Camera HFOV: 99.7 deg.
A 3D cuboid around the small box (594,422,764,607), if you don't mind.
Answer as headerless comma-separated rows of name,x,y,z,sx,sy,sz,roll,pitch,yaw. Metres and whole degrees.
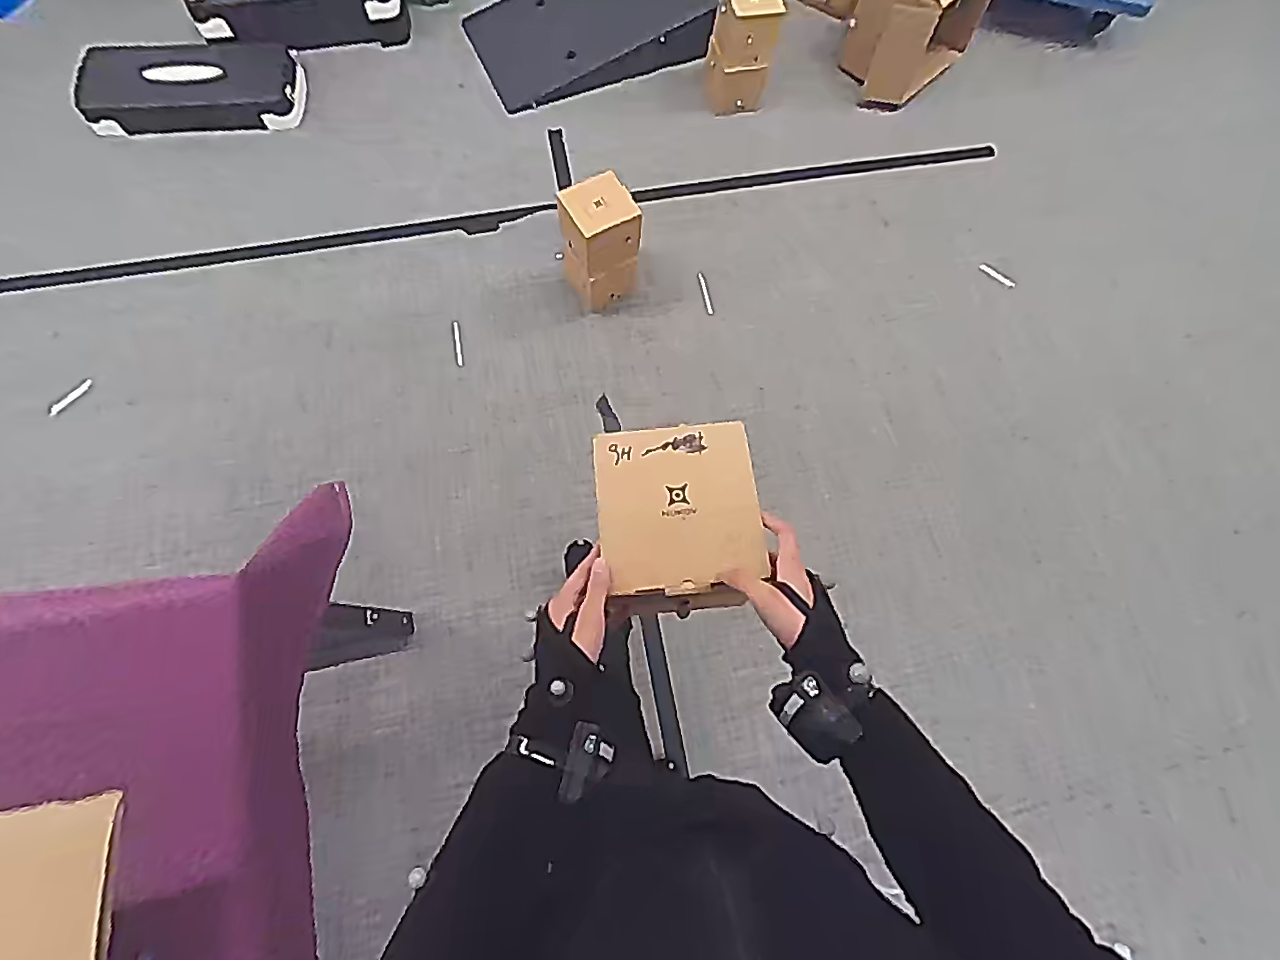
small box,0.039,0.051,0.634,0.168,0.176,0.179,-5,69,-1
